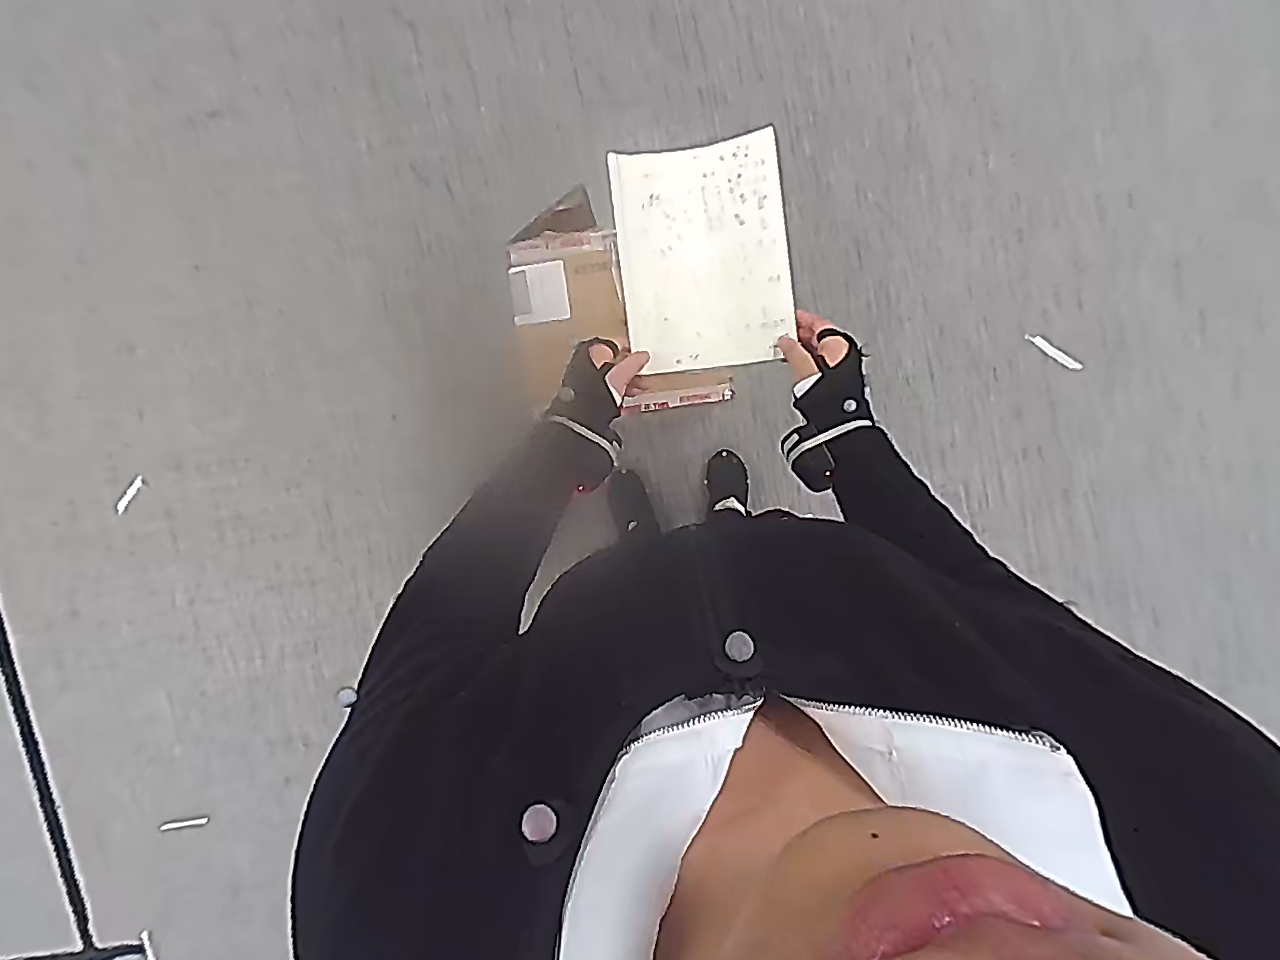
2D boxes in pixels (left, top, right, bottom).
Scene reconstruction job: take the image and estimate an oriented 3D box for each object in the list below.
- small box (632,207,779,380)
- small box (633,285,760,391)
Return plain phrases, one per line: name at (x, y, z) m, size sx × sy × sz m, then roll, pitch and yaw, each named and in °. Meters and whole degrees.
small box at (0.082, -0.247, 0.758) m, size 0.168 × 0.176 × 0.179 m, roll -10°, pitch 94°, yaw 2°
small box at (0.090, -0.254, 0.922) m, size 0.179 × 0.176 × 0.168 m, roll -13°, pitch 95°, yaw 3°
